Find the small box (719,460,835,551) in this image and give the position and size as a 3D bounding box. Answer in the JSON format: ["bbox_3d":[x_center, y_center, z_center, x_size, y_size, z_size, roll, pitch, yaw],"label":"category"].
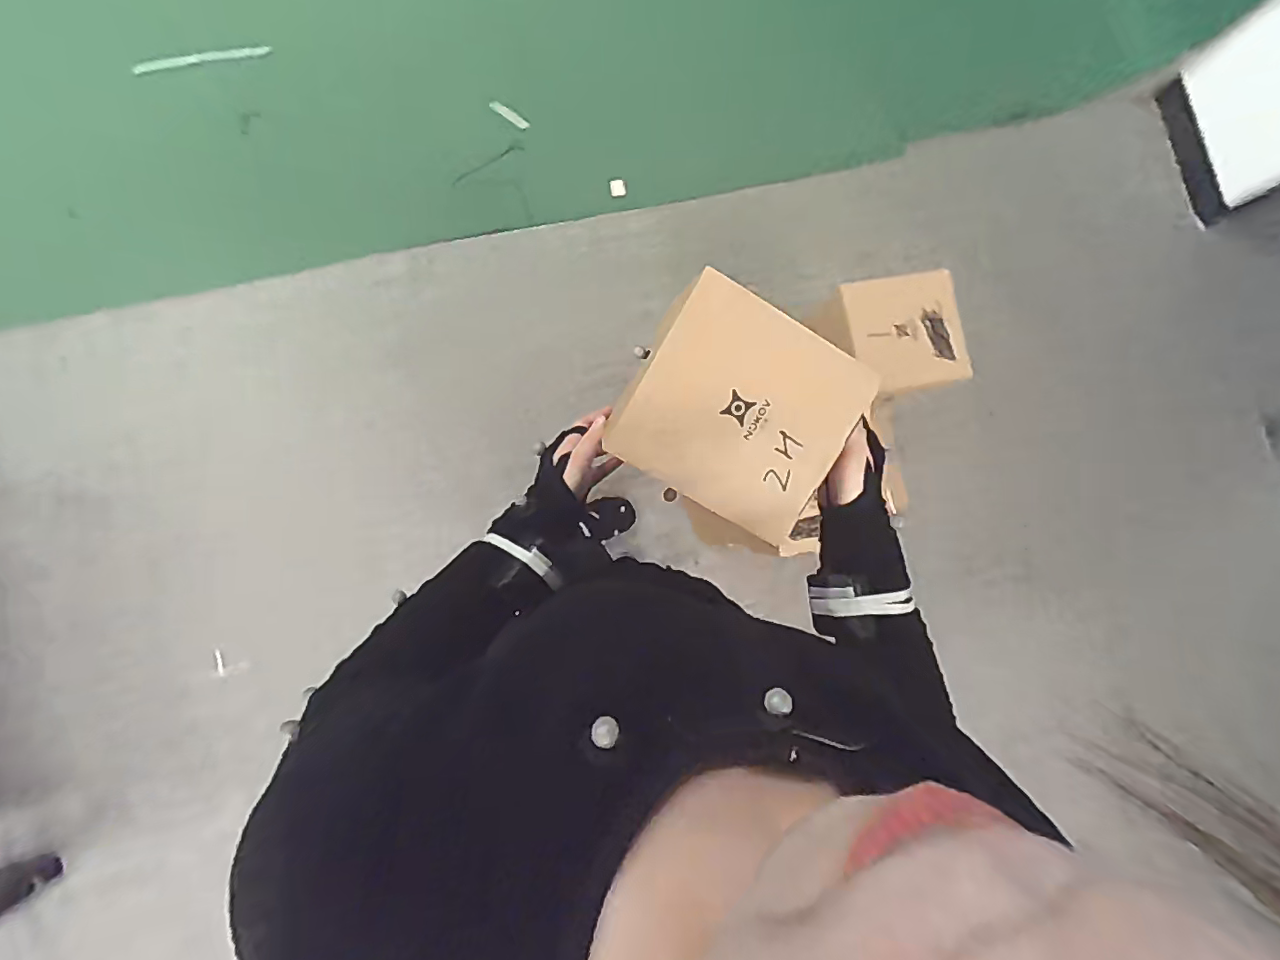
[{"bbox_3d":[0.283,0.054,1.148,0.179,0.176,0.168,-8,86,-8],"label":"small box"}]

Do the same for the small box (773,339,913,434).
[{"bbox_3d":[0.373,-0.190,1.018,0.179,0.176,0.168,-10,86,-6],"label":"small box"}]

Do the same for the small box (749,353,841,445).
[{"bbox_3d":[0.350,-0.179,1.180,0.179,0.176,0.168,-10,86,-8],"label":"small box"}]

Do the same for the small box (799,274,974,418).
[{"bbox_3d":[0.378,-0.203,0.855,0.179,0.176,0.168,-10,86,-6],"label":"small box"}]
